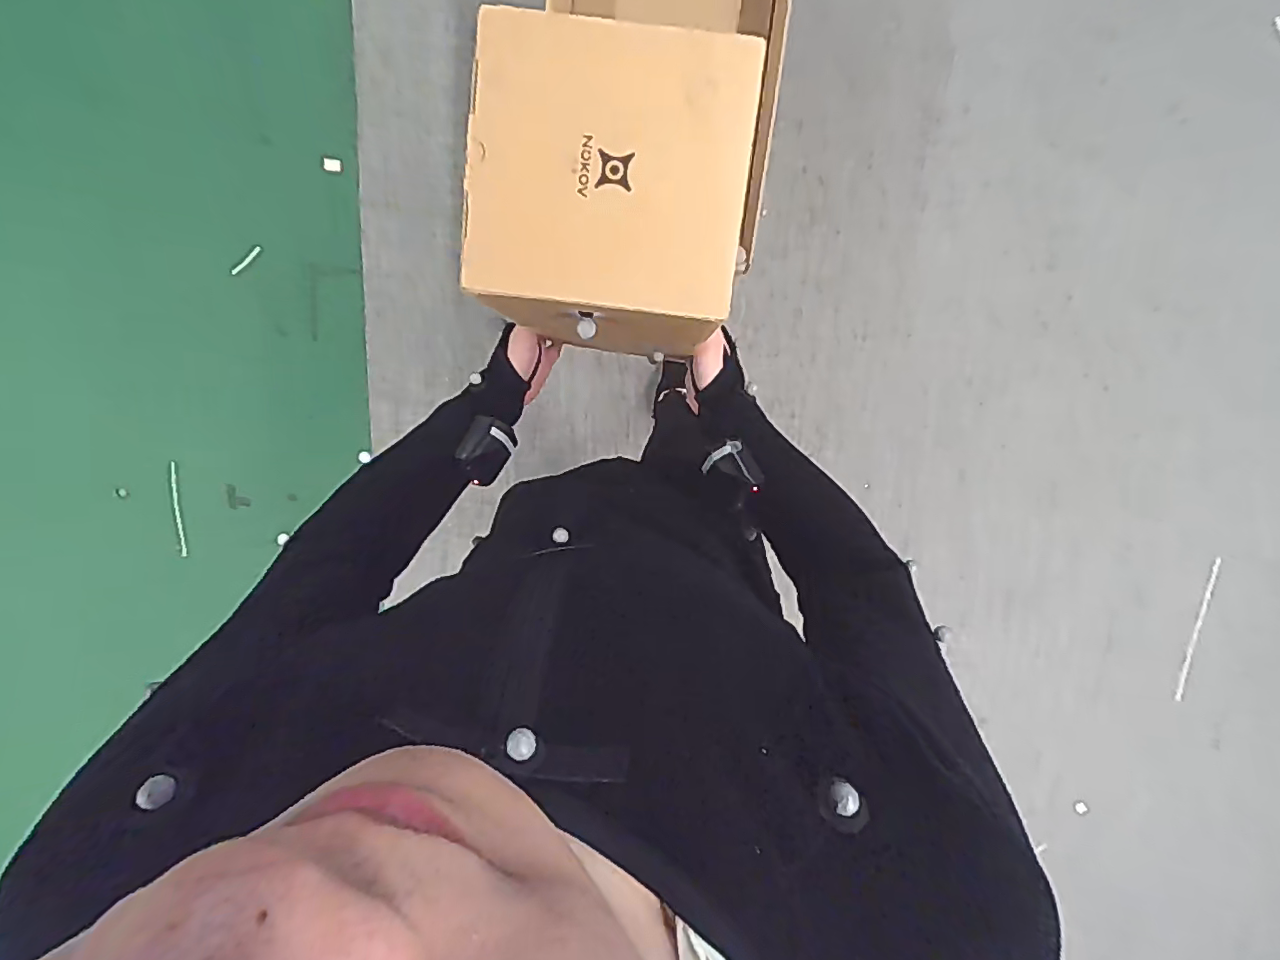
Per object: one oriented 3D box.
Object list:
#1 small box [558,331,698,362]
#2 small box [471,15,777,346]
[{"bbox_3d":[-0.002,-0.258,0.736,0.179,0.176,0.168,9,97,1],"label":"small box"},{"bbox_3d":[-0.012,-0.200,0.414,0.179,0.176,0.168,7,99,1],"label":"small box"}]
